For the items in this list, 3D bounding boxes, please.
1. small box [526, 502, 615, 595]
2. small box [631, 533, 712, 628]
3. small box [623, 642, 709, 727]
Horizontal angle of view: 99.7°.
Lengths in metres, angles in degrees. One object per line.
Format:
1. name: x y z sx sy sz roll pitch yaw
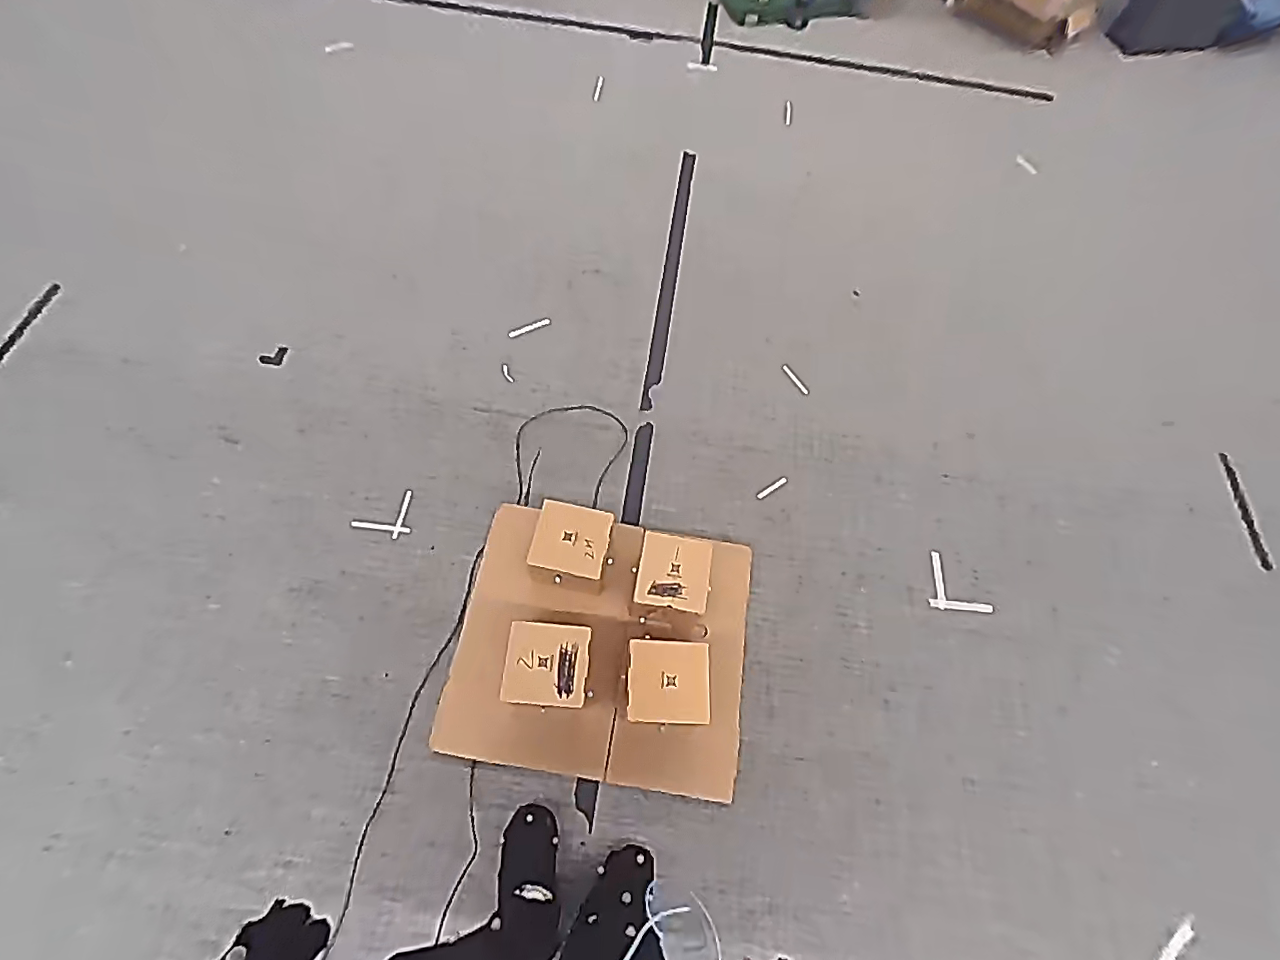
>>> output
1. small box: -0.167 0.176 1.337 0.179 0.176 0.168 13 65 1
2. small box: 0.073 0.252 1.326 0.168 0.176 0.179 11 64 1
3. small box: 0.056 0.467 1.227 0.179 0.176 0.168 3 65 -1
